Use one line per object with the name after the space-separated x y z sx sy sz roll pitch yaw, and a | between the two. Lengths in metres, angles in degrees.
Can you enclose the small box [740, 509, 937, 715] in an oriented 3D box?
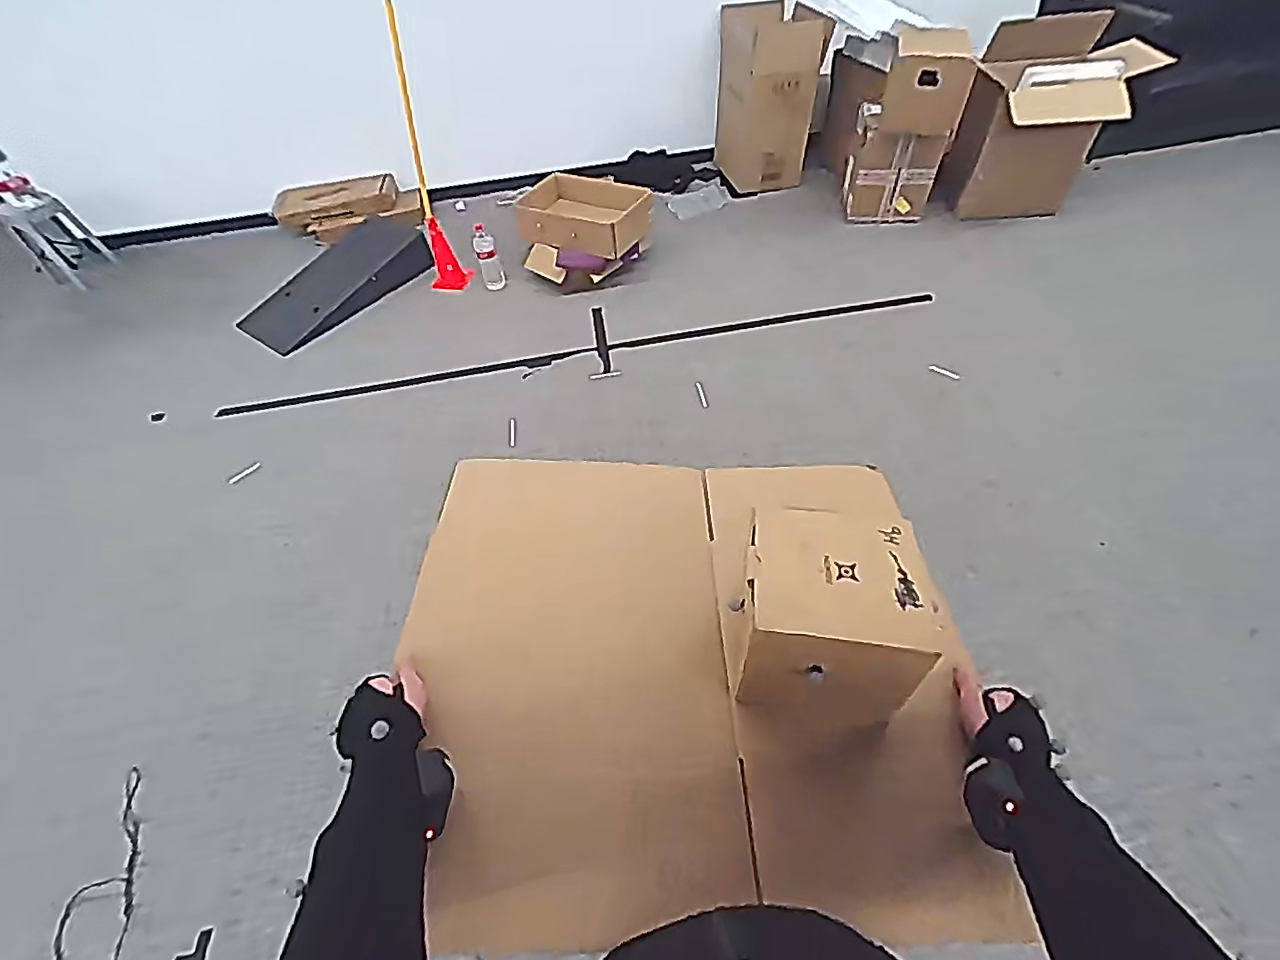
0.210 0.154 0.628 0.179 0.176 0.168 5 46 8 | small box
